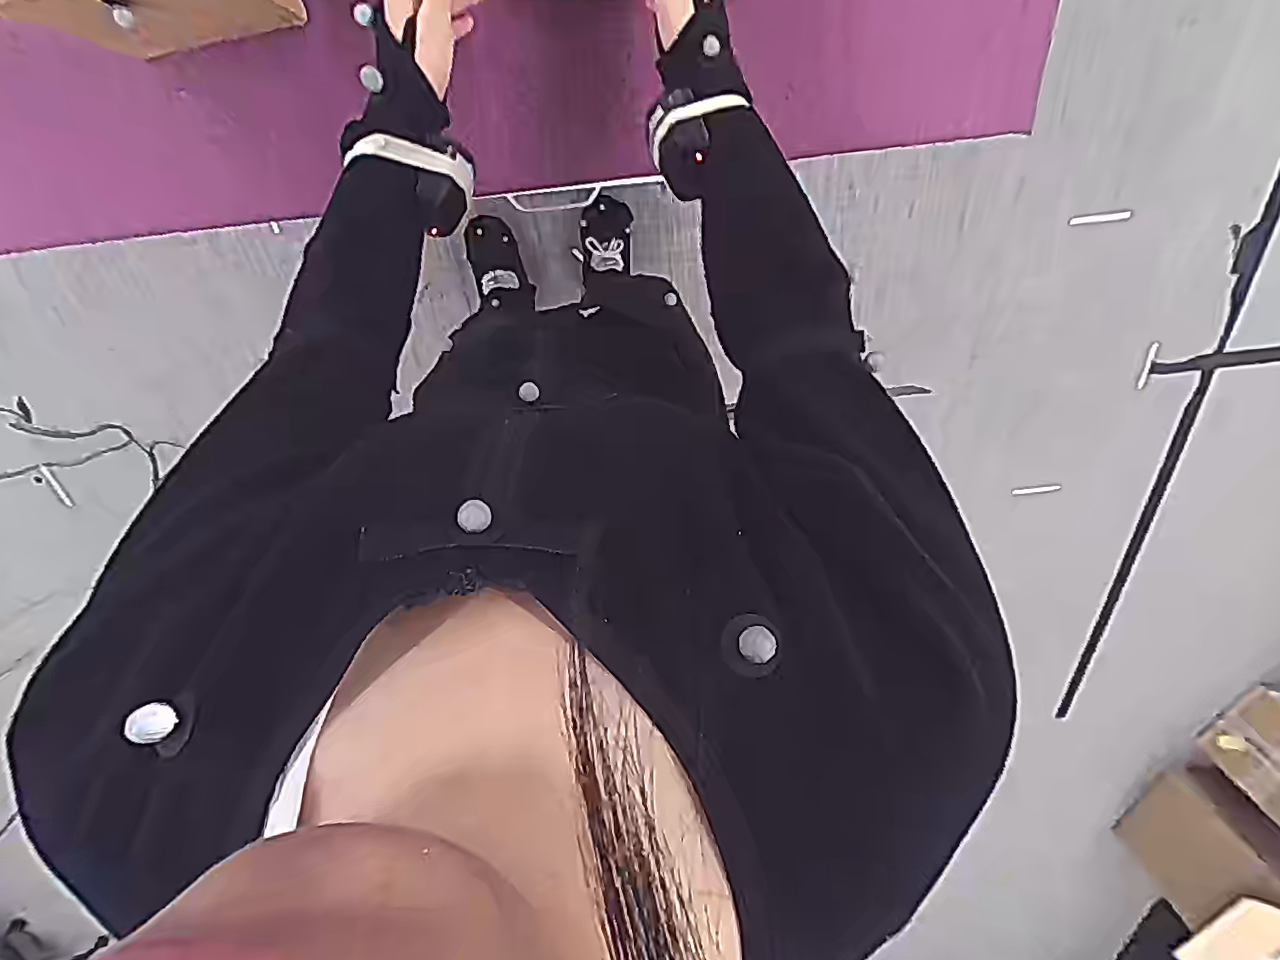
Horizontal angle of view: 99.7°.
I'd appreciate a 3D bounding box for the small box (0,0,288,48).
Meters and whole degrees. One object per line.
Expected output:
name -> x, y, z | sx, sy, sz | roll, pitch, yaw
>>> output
small box -> -0.411, -0.462, 0.415 | 0.179, 0.176, 0.168 | -10, 119, 1
